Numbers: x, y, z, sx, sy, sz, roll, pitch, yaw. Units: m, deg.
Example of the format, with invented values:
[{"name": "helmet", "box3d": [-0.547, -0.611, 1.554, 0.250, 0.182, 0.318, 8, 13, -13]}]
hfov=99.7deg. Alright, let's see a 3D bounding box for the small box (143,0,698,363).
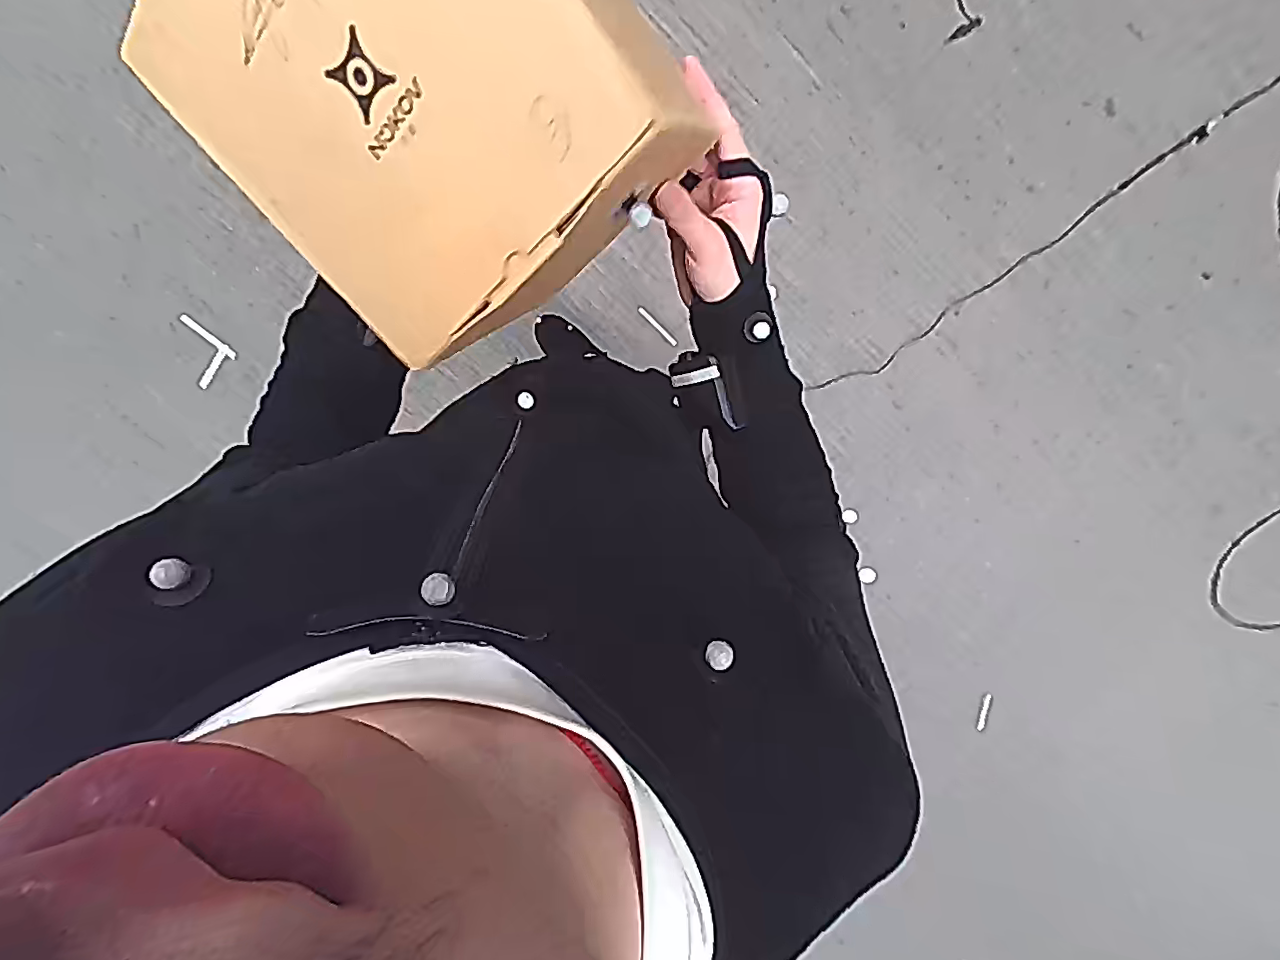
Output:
[{"name": "small box", "box3d": [-0.088, -0.199, 0.288, 0.168, 0.176, 0.179, -34, 106, 29]}]
